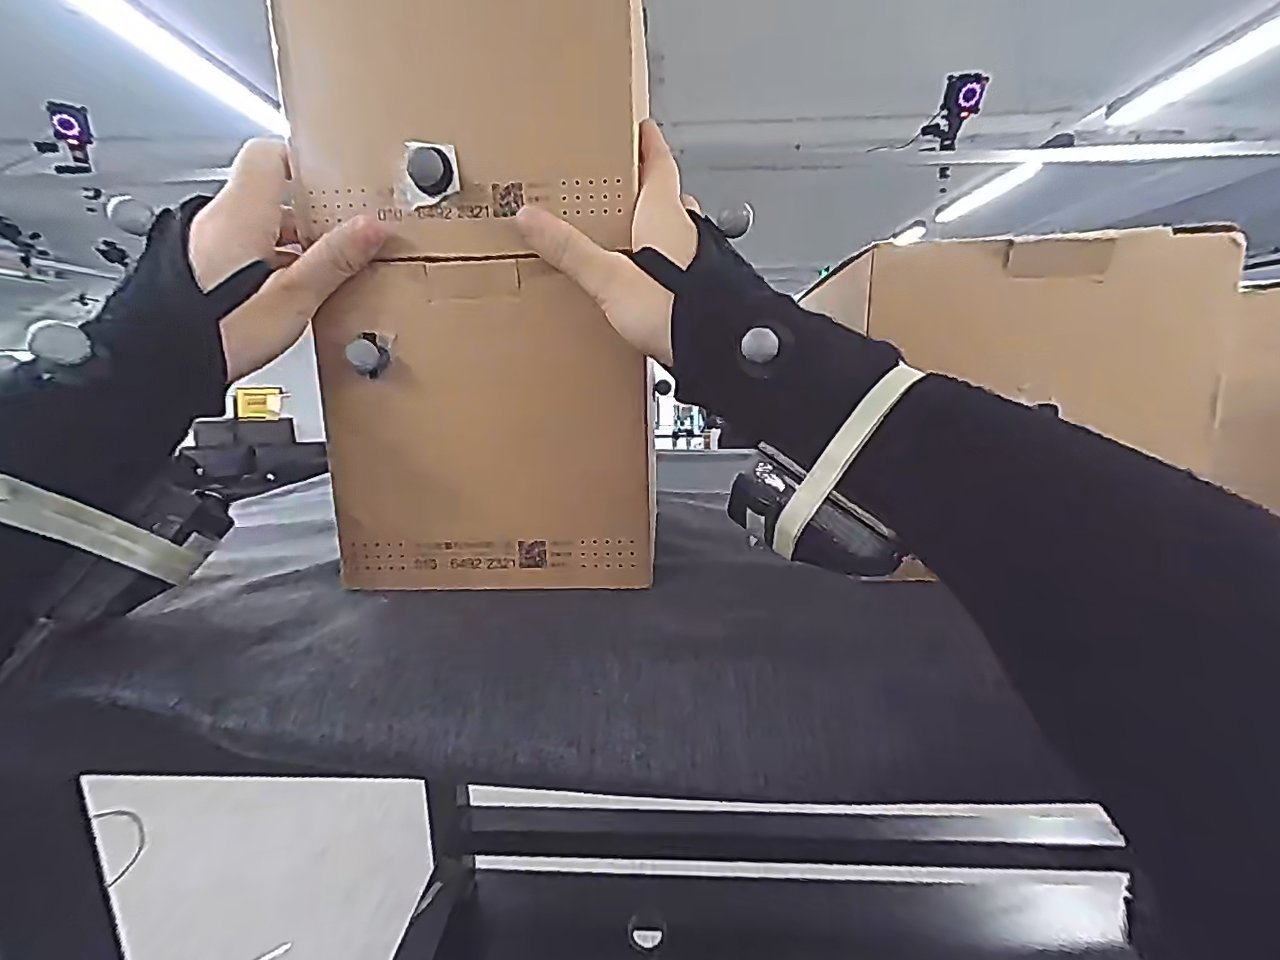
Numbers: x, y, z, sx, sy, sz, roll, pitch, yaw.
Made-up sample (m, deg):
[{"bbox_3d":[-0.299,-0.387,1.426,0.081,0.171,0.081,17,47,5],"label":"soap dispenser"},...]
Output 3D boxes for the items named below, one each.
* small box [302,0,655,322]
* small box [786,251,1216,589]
[{"bbox_3d":[-0.077,-0.192,0.331,0.168,0.176,0.179,-2,11,2],"label":"small box"},{"bbox_3d":[0.194,-0.036,0.349,0.168,0.176,0.179,0,9,3],"label":"small box"}]
